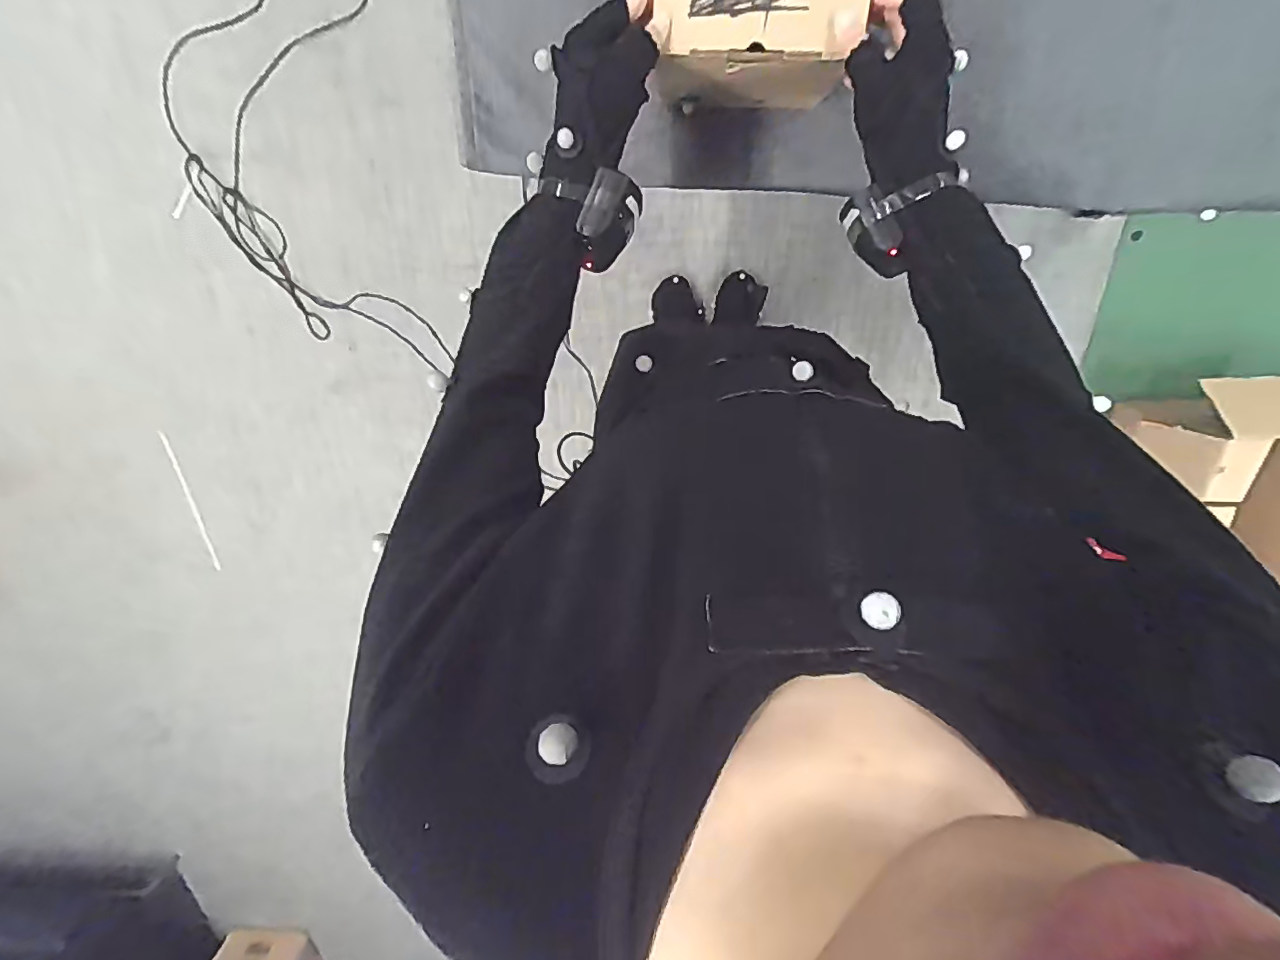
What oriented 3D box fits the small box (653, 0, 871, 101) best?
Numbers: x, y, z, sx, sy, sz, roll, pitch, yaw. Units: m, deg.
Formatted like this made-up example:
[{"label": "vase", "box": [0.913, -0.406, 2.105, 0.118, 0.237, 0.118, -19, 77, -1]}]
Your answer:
[{"label": "small box", "box": [0.102, -0.445, 0.462, 0.168, 0.176, 0.179, 3, 113, 3]}]
